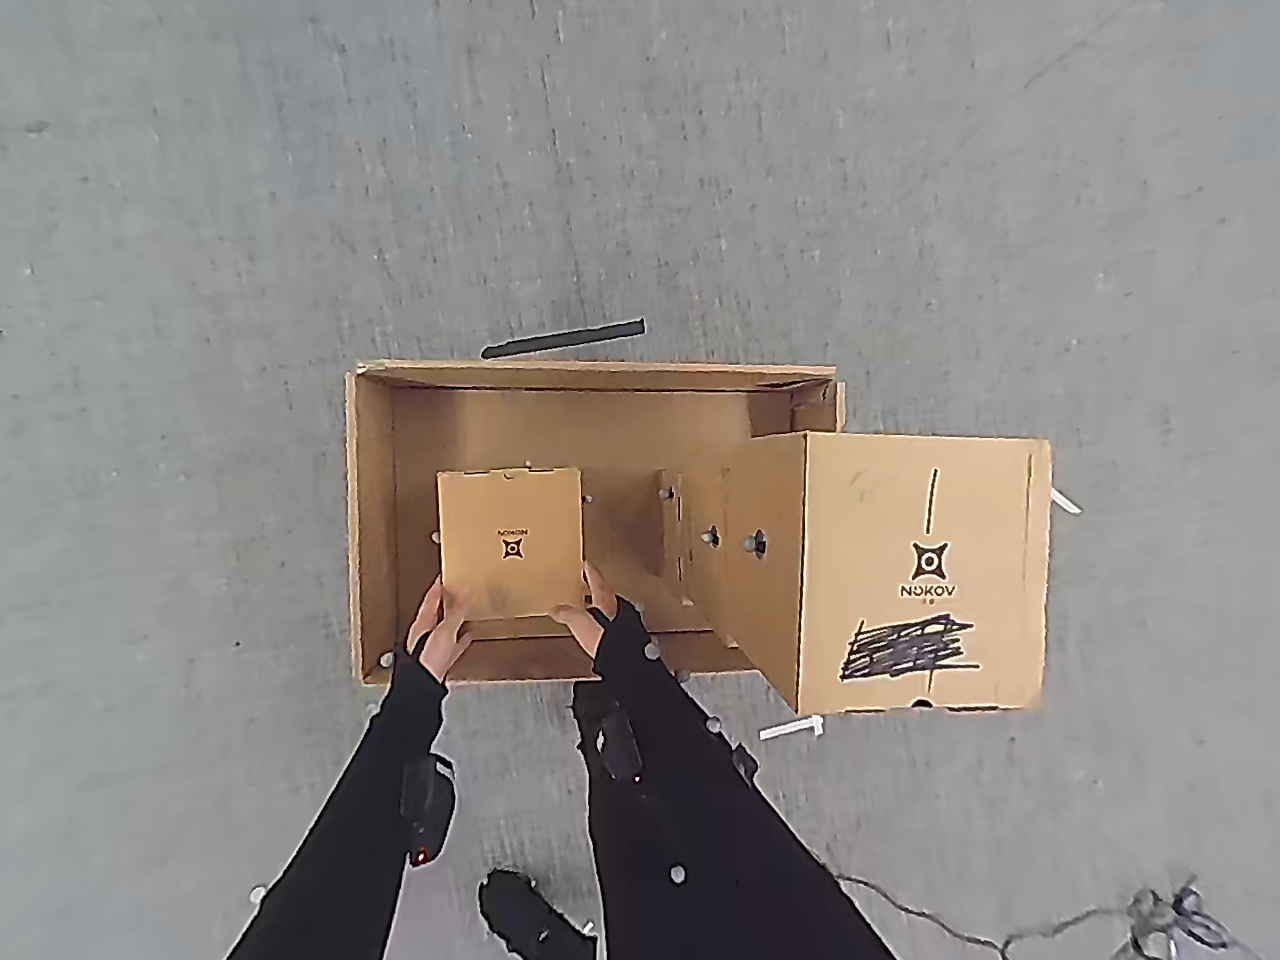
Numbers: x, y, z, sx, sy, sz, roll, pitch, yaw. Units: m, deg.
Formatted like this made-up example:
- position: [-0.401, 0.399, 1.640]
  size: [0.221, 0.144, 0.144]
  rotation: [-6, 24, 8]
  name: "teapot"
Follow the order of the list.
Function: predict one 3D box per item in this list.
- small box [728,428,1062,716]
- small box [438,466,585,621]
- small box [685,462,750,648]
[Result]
- position: [0.168, 0.055, 0.409]
  size: [0.168, 0.176, 0.179]
  rotation: [1, 91, -6]
  name: "small box"
- position: [-0.157, 0.072, 0.706]
  size: [0.168, 0.176, 0.179]
  rotation: [-2, 91, -7]
  name: "small box"
- position: [0.152, 0.064, 0.574]
  size: [0.179, 0.176, 0.168]
  rotation: [-3, 92, -7]
  name: "small box"
